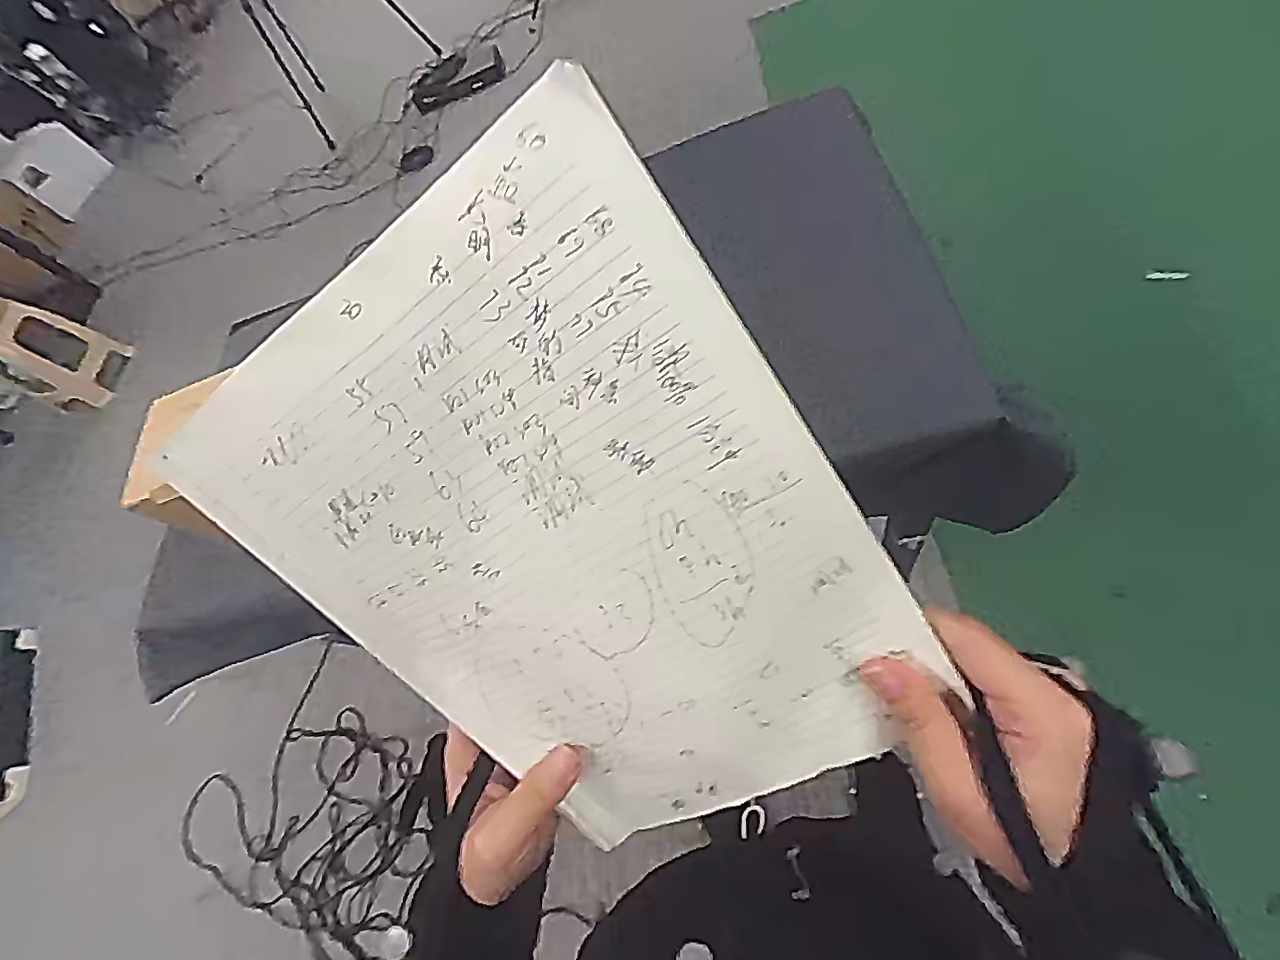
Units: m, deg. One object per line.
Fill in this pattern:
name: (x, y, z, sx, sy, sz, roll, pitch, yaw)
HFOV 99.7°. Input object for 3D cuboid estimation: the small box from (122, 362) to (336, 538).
small box: (-0.570, -0.030, 0.777, 0.168, 0.176, 0.179, -18, 60, 9)
